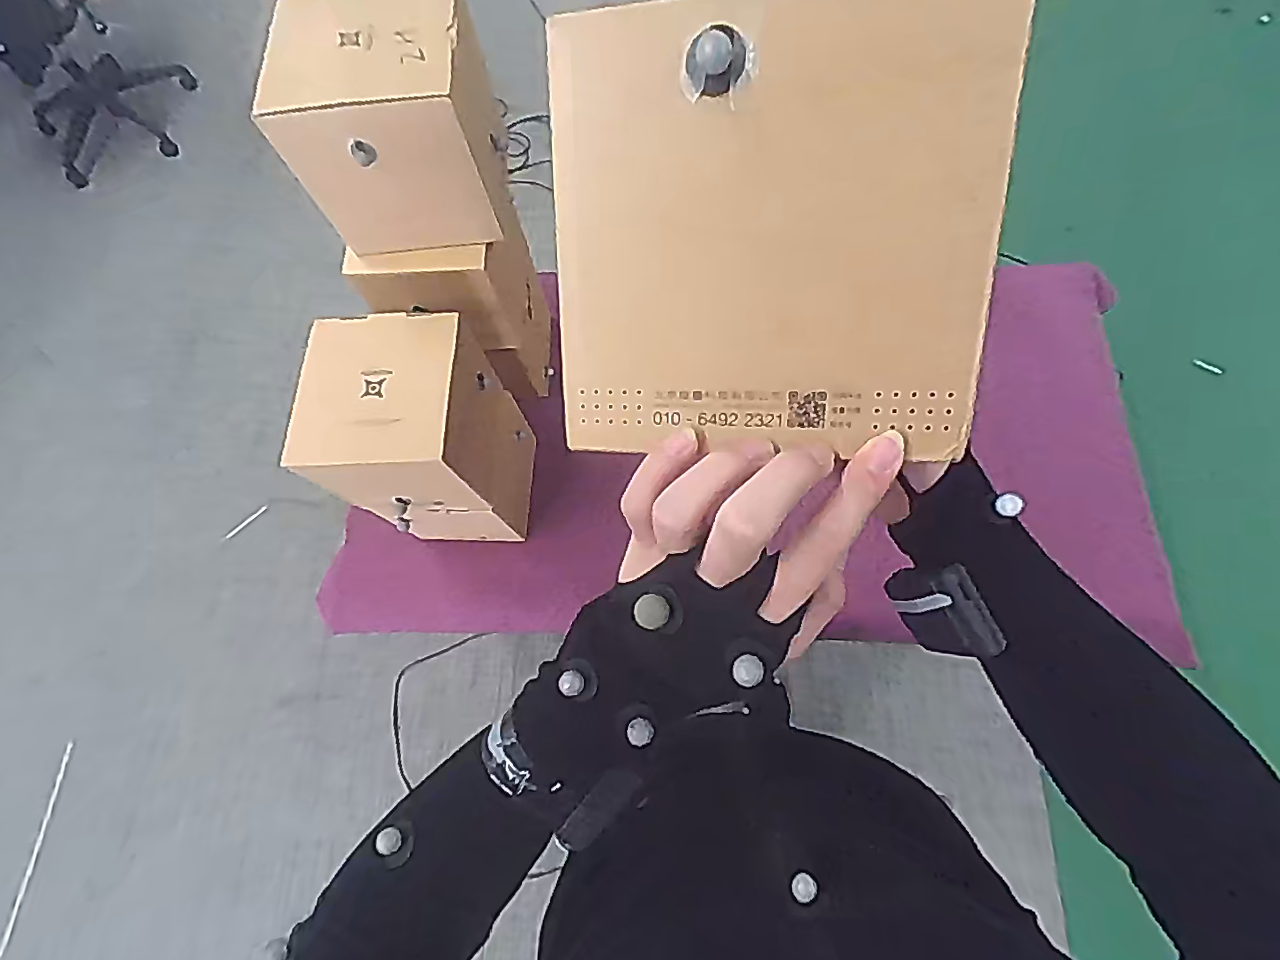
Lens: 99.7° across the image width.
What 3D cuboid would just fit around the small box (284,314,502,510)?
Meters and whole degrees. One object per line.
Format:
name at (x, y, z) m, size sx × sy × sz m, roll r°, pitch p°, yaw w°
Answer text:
small box at (-0.269, -0.072, 0.637) m, size 0.168 × 0.176 × 0.179 m, roll -1°, pitch 71°, yaw 3°

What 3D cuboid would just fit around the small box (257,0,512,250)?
small box at (-0.244, -0.364, 0.564) m, size 0.179 × 0.176 × 0.168 m, roll -4°, pitch 71°, yaw 1°

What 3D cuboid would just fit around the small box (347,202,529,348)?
small box at (-0.248, -0.287, 0.711) m, size 0.168 × 0.176 × 0.179 m, roll -1°, pitch 71°, yaw 2°

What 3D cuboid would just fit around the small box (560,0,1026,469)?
small box at (0.065, -0.109, 0.288) m, size 0.168 × 0.179 × 0.176 m, roll 3°, pitch 105°, yaw 13°
